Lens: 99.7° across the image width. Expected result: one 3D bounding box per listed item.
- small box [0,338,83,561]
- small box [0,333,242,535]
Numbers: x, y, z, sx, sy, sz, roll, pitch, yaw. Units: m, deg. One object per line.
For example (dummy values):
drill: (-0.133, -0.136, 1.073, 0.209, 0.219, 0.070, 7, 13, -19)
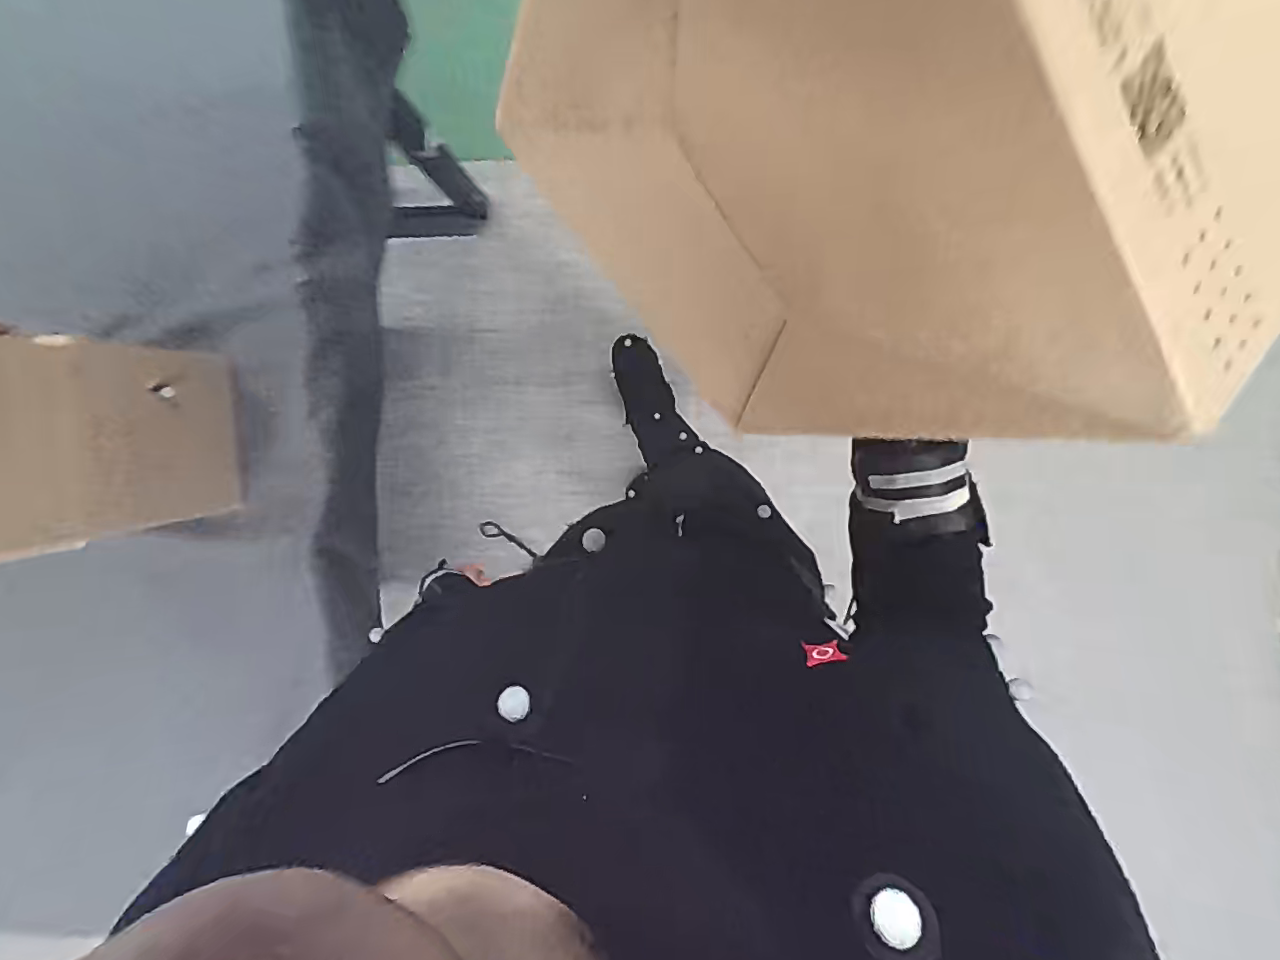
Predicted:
small box: (-0.564, -0.021, 0.390, 0.168, 0.176, 0.179, 1, 95, 4)
small box: (-0.550, -0.046, 0.550, 0.168, 0.176, 0.179, -1, 97, 5)
